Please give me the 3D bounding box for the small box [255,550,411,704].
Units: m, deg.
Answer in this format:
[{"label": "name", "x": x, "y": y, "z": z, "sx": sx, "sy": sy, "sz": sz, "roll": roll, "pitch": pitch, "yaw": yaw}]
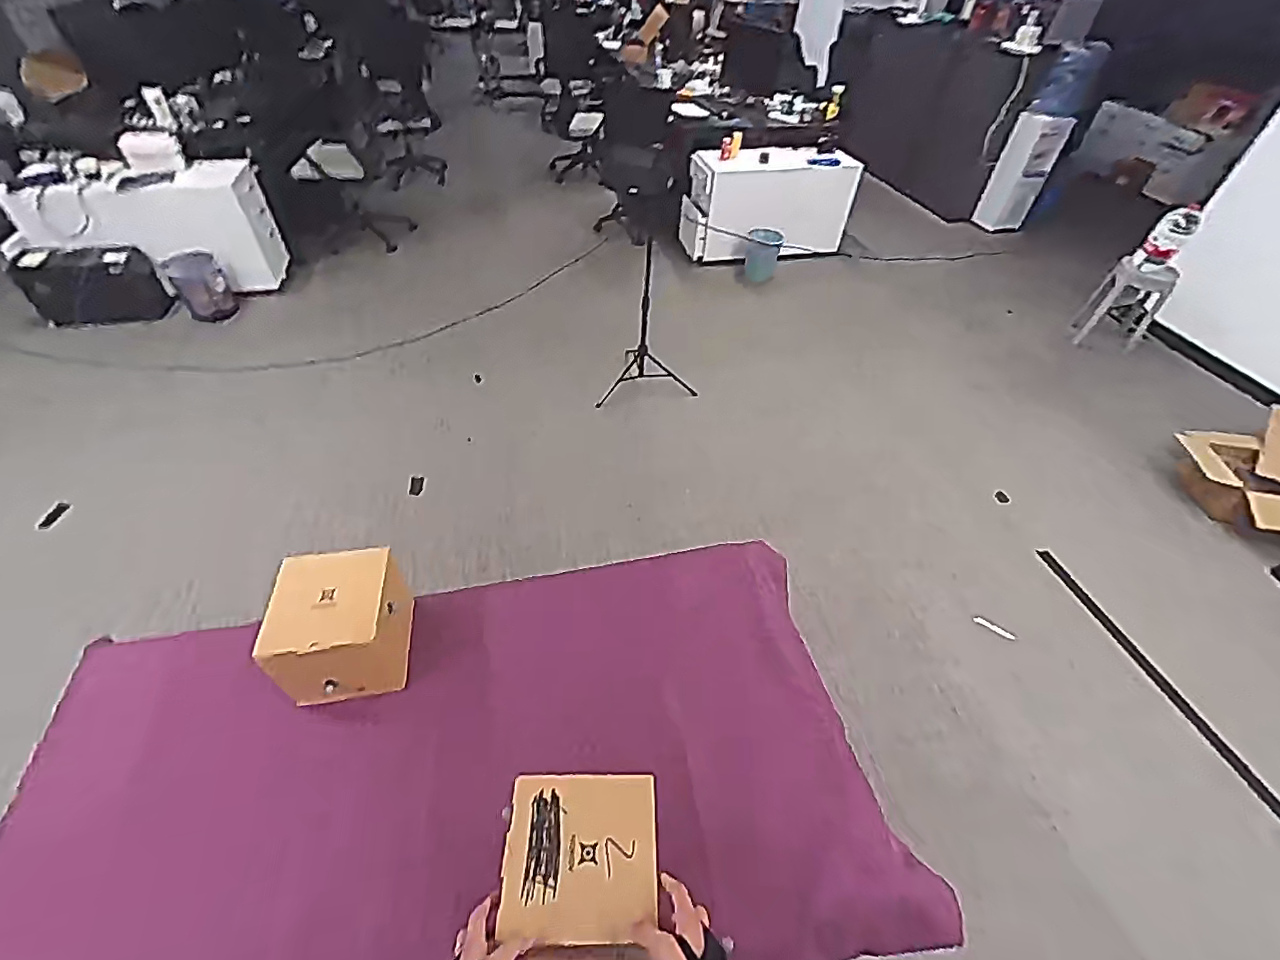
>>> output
[{"label": "small box", "x": -0.486, "y": 0.241, "z": 0.891, "sx": 0.168, "sy": 0.176, "sz": 0.179, "roll": -6, "pitch": 47, "yaw": -10}]
